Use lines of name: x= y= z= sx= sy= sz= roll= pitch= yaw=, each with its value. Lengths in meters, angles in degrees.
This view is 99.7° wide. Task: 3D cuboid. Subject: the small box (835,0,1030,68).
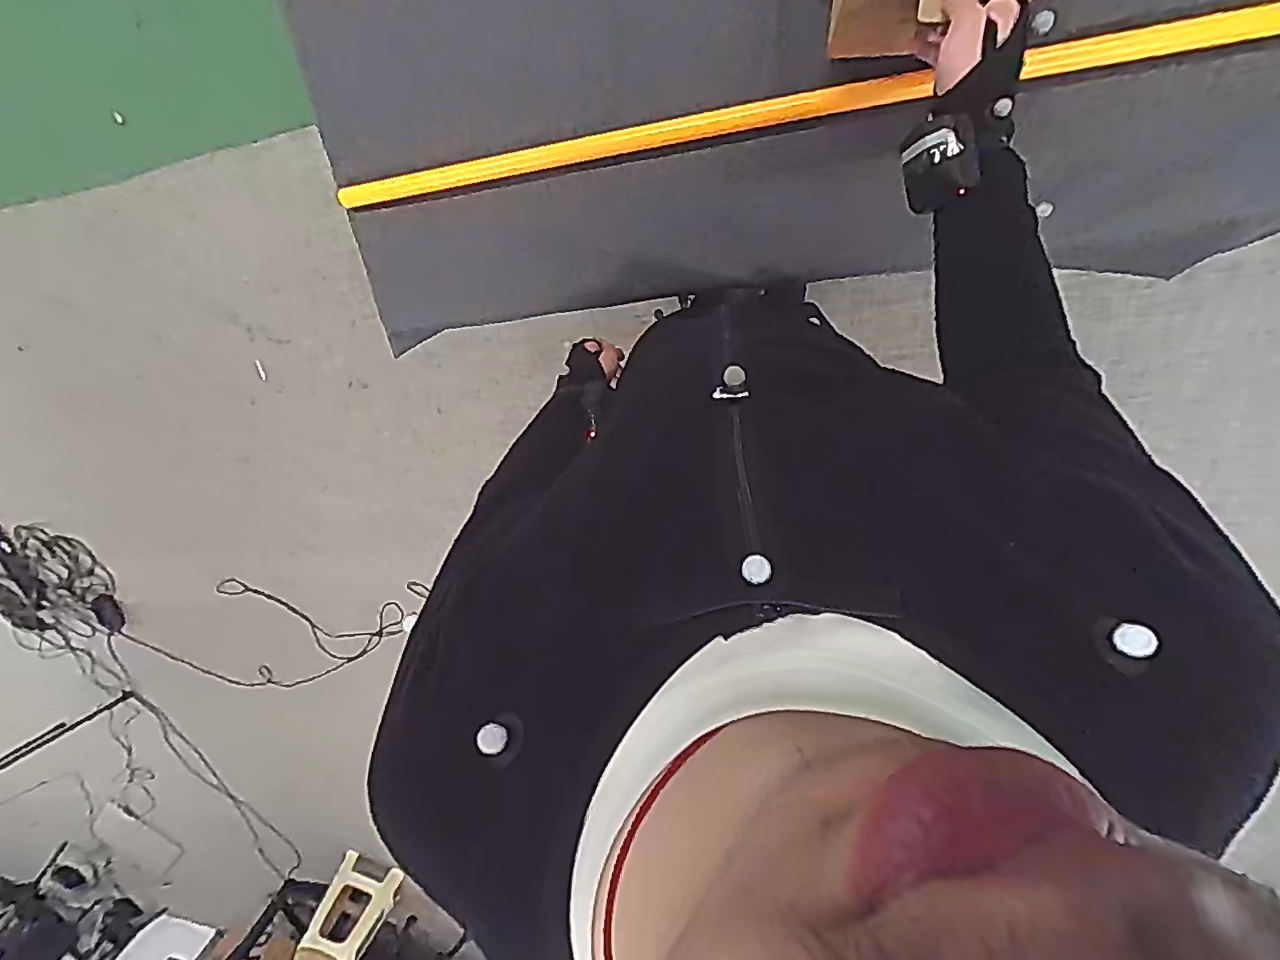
small box: x=0.277 y=-0.512 z=0.496 sx=0.168 sy=0.176 sz=0.179 roll=2 pitch=107 yaw=13
